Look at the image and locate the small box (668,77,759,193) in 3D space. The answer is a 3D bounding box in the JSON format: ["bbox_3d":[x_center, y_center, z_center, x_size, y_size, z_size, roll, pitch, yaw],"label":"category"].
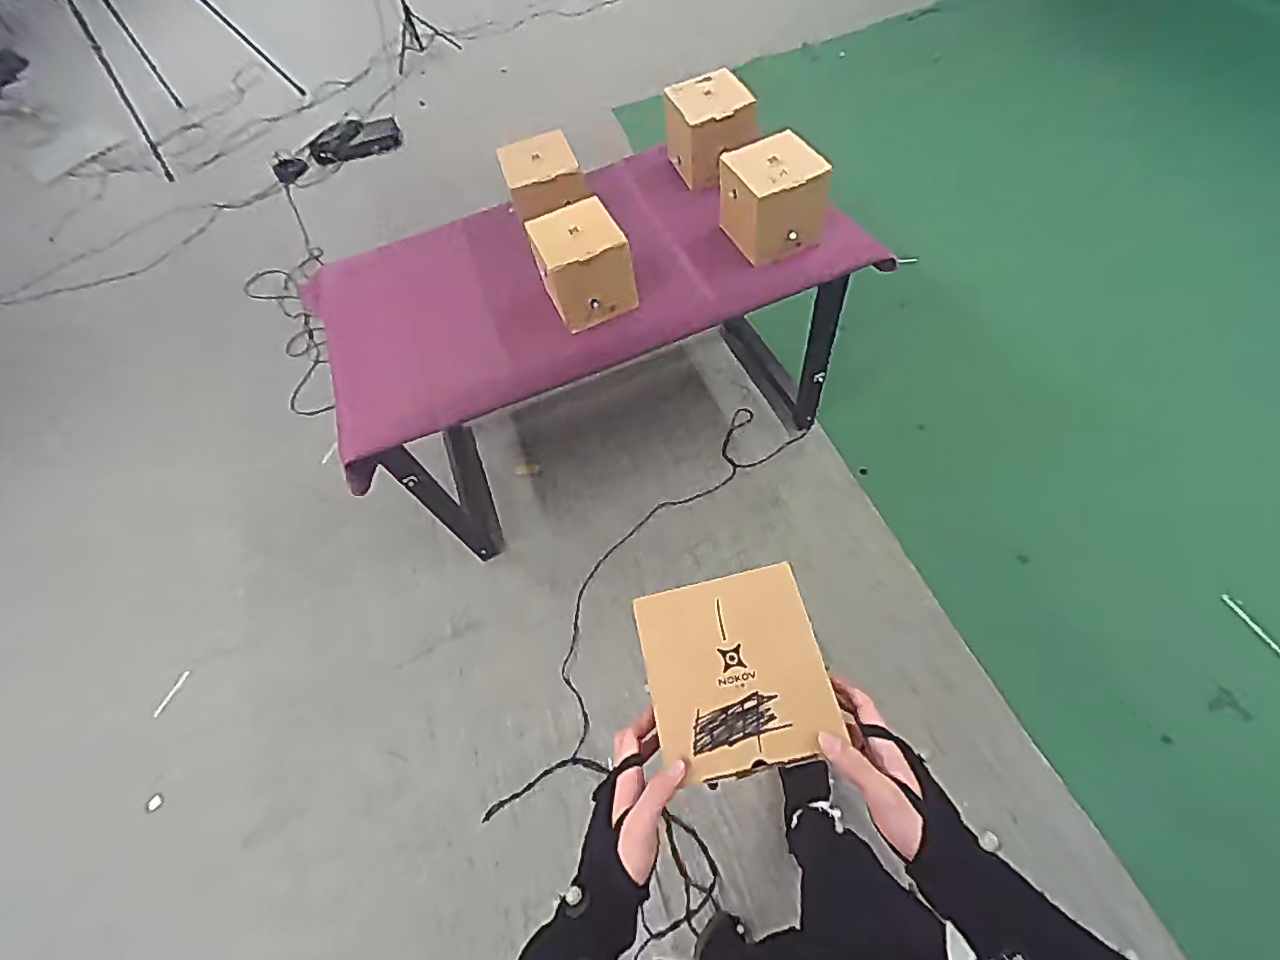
[{"bbox_3d":[0.180,-0.840,1.335,0.168,0.176,0.179,-20,62,-3],"label":"small box"}]

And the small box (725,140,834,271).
[{"bbox_3d":[0.293,-0.592,1.175,0.168,0.176,0.179,-22,59,-3],"label":"small box"}]

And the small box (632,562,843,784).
[{"bbox_3d":[0.097,0.210,0.581,0.168,0.176,0.179,-13,62,2],"label":"small box"}]

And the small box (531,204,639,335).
[{"bbox_3d":[-0.113,-0.446,1.156,0.168,0.176,0.179,-23,59,-6],"label":"small box"}]

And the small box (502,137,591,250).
[{"bbox_3d":[-0.215,-0.682,1.307,0.168,0.176,0.179,-18,59,-3],"label":"small box"}]
